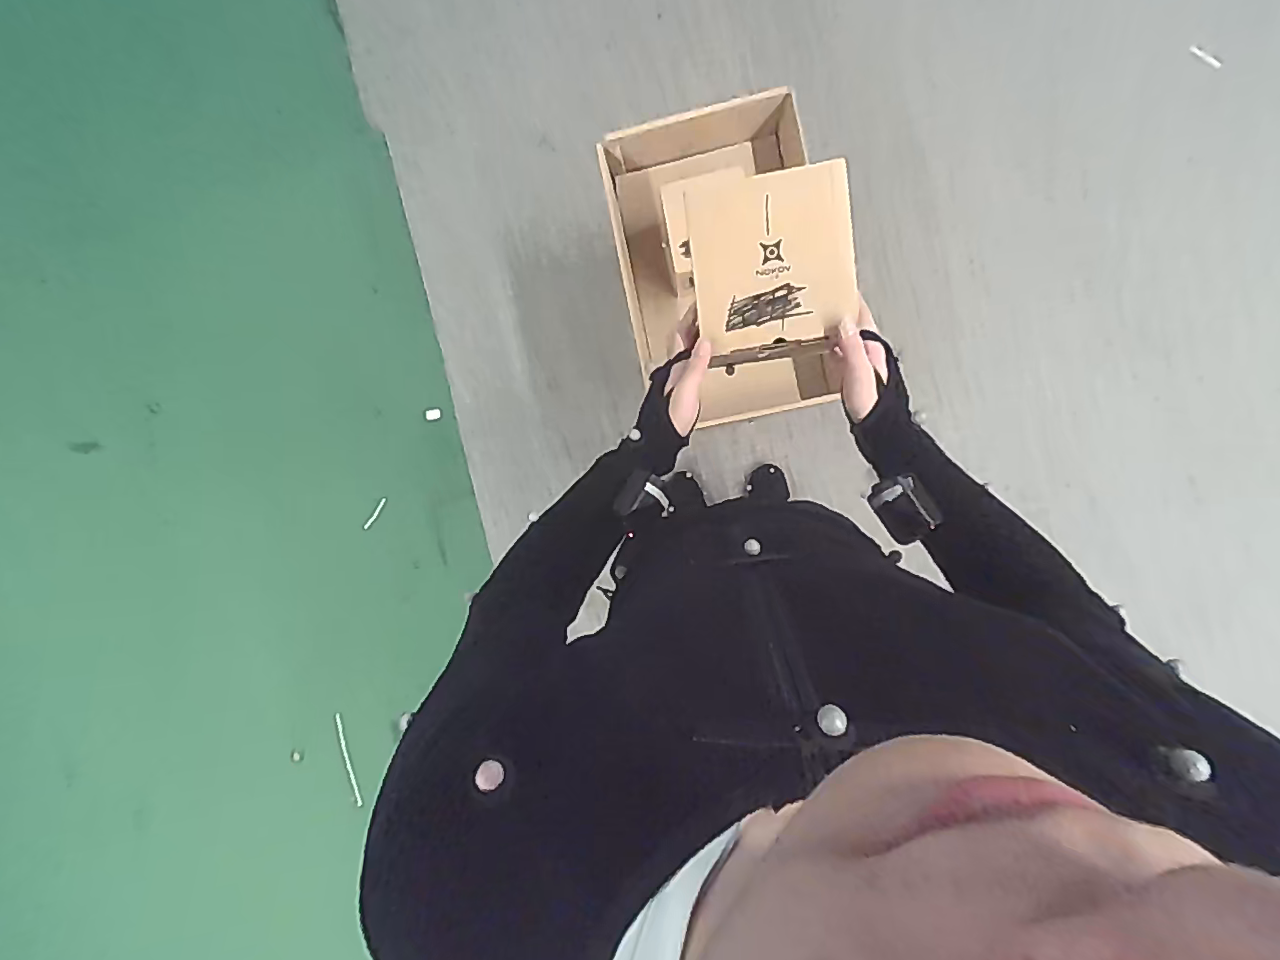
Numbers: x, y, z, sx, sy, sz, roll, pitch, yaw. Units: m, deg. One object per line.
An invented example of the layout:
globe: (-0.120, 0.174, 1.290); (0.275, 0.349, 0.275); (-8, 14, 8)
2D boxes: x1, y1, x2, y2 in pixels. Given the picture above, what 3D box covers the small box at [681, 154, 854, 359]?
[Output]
small box: (0.144, -0.241, 0.636); (0.168, 0.176, 0.179); (-7, 96, 9)
